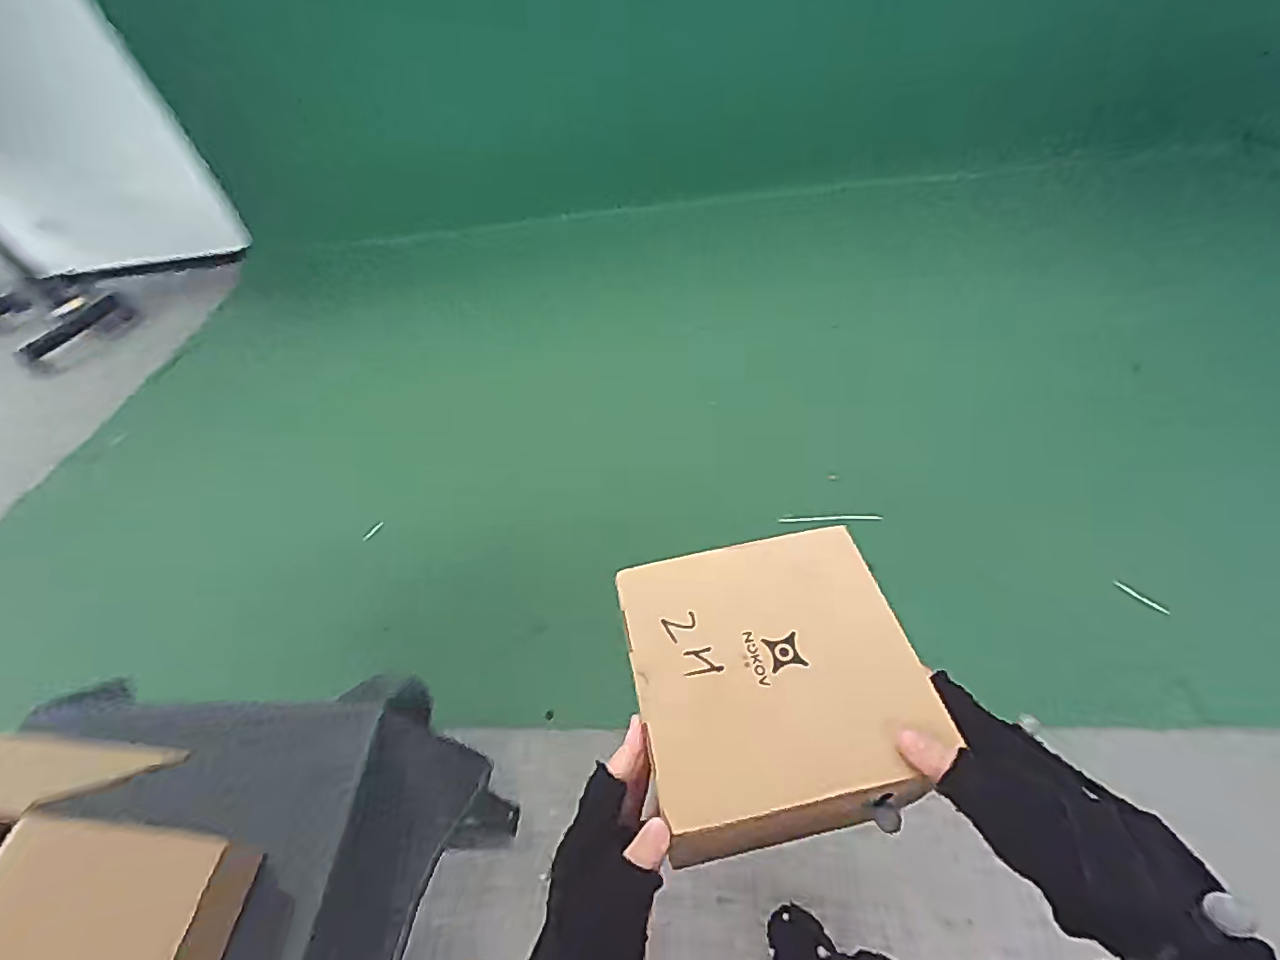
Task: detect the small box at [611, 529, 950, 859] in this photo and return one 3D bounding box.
[{"bbox_3d":[0.080,0.163,0.408,0.179,0.176,0.168,-10,49,-5],"label":"small box"}]
